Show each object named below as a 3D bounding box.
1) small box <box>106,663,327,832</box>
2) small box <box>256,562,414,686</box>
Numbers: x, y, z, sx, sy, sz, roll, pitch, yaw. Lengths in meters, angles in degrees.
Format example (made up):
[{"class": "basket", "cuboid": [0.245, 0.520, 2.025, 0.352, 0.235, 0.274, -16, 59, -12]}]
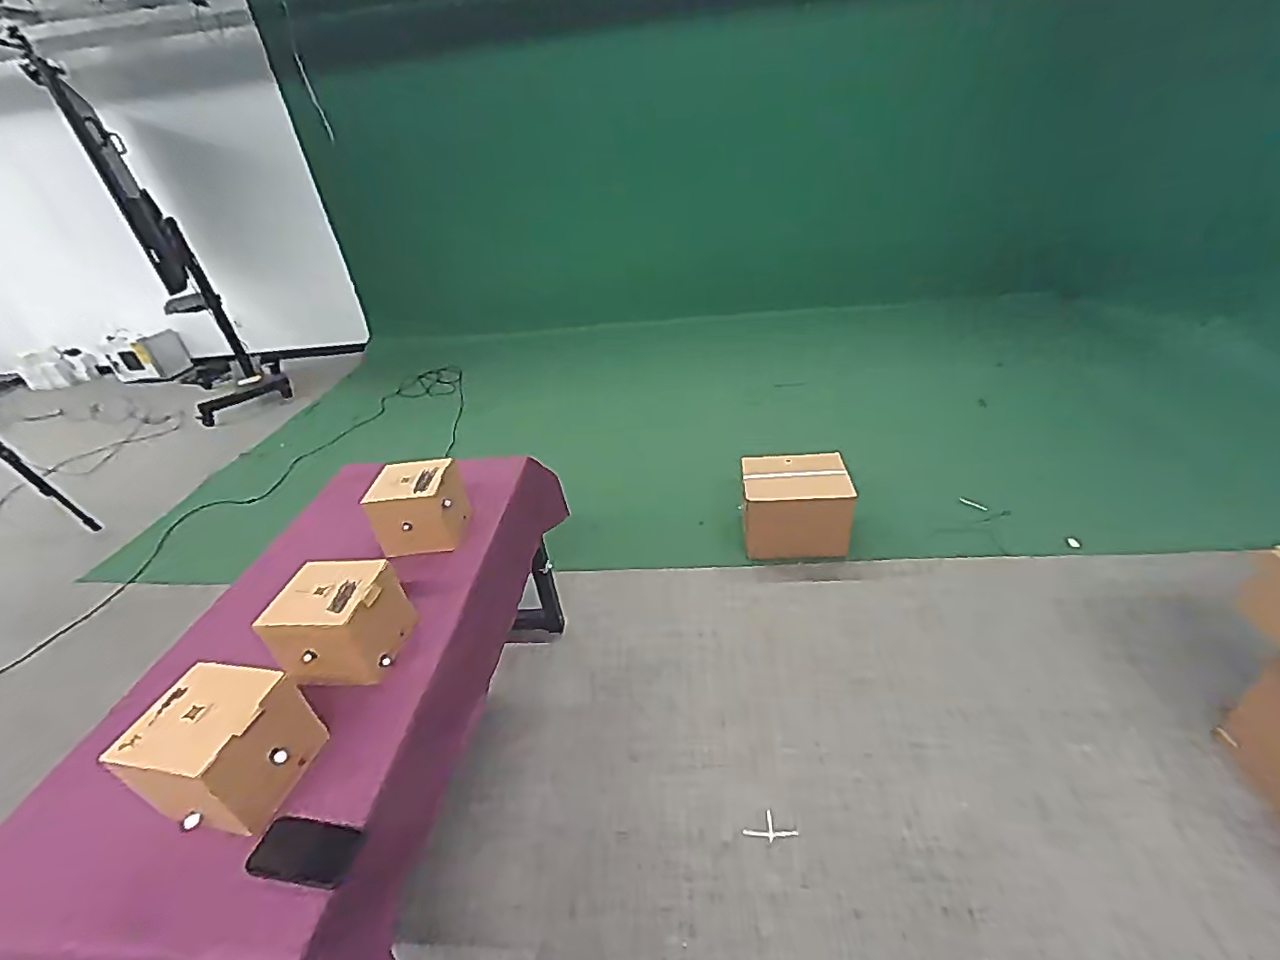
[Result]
[{"class": "small box", "cuboid": [-0.634, 0.413, 0.837, 0.179, 0.176, 0.168, 2, 34, 13]}, {"class": "small box", "cuboid": [-0.565, 0.274, 1.033, 0.179, 0.176, 0.168, -3, 33, 8]}]
